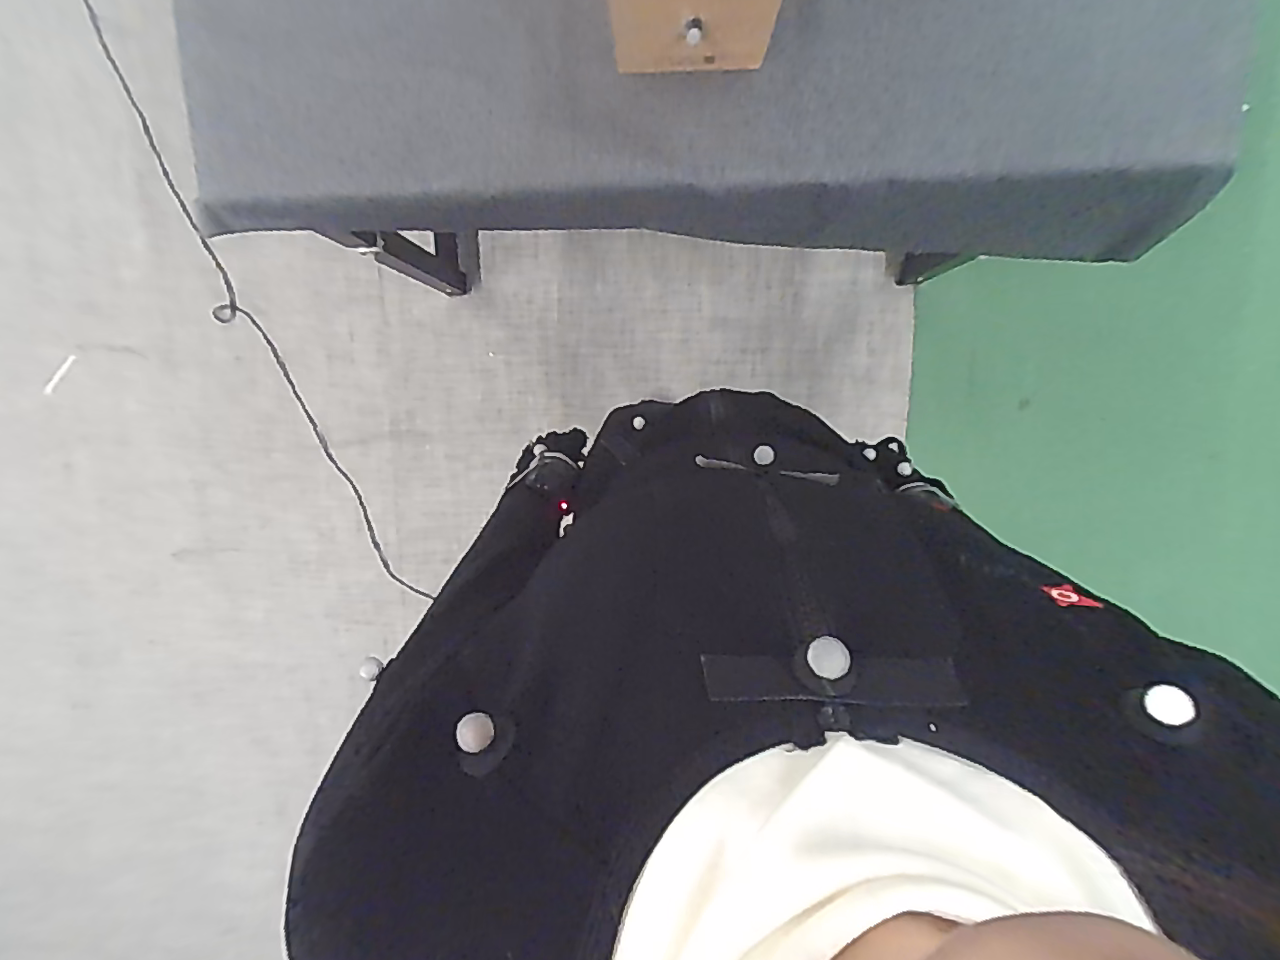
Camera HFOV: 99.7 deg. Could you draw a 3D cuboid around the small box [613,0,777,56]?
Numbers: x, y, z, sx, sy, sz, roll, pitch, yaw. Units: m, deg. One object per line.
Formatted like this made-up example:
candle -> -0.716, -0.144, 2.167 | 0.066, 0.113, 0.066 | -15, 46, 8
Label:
small box -> 0.055, -0.547, 0.523 | 0.168, 0.176, 0.179 | -1, 100, 3
